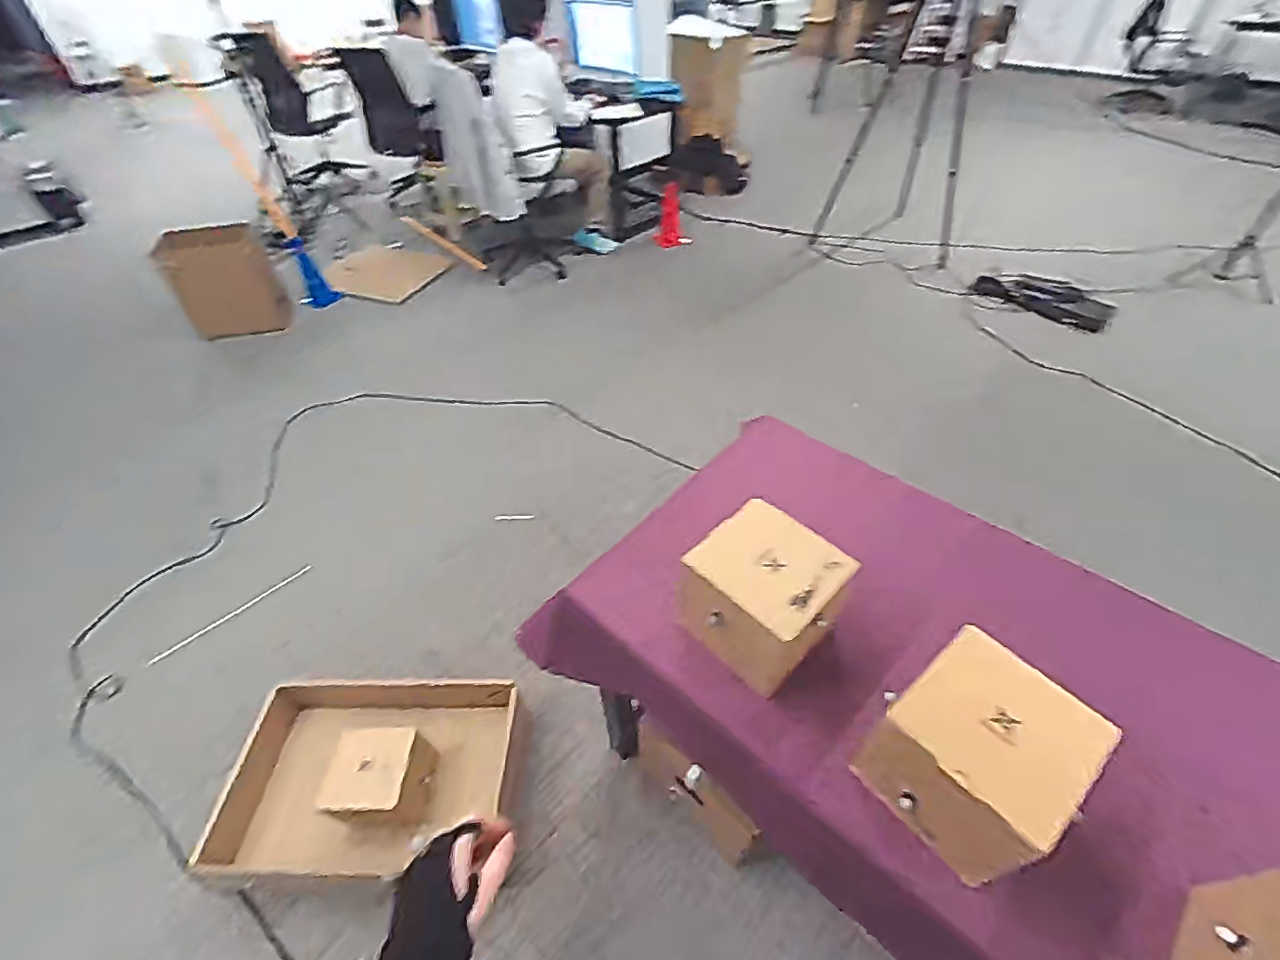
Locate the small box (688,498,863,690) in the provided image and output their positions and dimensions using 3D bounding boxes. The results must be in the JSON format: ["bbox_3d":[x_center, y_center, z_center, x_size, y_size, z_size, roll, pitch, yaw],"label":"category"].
[{"bbox_3d":[0.183,0.164,0.781,0.168,0.176,0.179,-36,54,-27],"label":"small box"}]

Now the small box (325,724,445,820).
[{"bbox_3d":[-0.582,0.684,1.261,0.179,0.176,0.168,-2,47,2],"label":"small box"}]

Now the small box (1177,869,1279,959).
[{"bbox_3d":[0.606,0.478,0.457,0.179,0.176,0.168,-34,53,-28],"label":"small box"}]

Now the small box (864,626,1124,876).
[{"bbox_3d":[0.392,0.314,0.630,0.179,0.176,0.168,-32,52,-24],"label":"small box"}]
